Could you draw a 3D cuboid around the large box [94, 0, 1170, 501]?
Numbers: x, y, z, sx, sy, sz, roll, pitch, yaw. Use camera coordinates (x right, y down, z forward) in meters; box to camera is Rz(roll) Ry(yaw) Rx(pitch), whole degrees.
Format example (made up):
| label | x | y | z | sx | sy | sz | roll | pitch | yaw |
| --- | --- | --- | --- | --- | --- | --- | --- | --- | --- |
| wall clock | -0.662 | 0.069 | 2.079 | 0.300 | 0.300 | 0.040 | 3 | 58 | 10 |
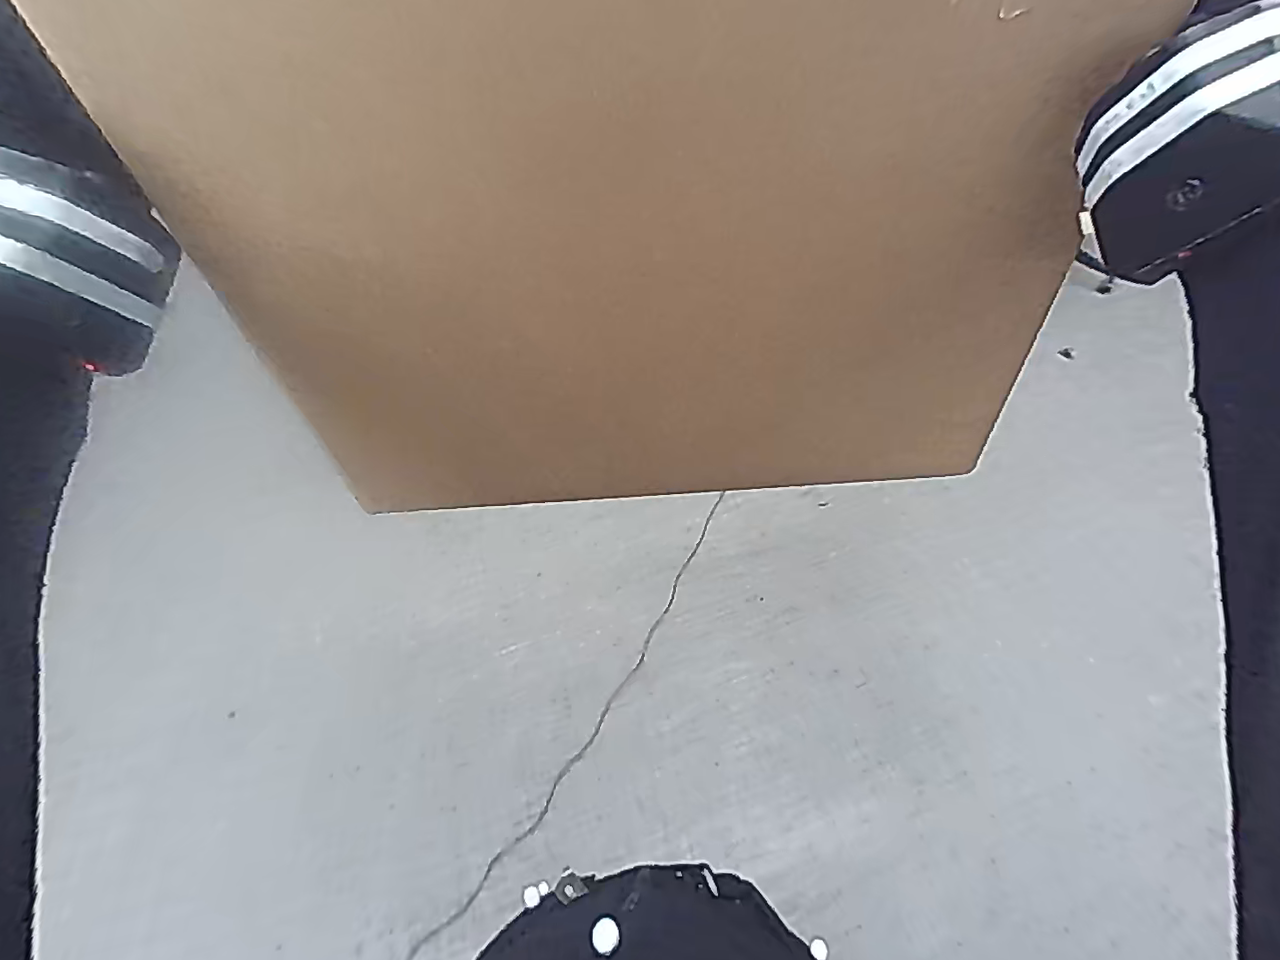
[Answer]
| label | x | y | z | sx | sy | sz | roll | pitch | yaw |
| --- | --- | --- | --- | --- | --- | --- | --- | --- | --- |
| large box | 0.003 | -0.206 | 0.370 | 0.408 | 0.320 | 0.320 | -3 | 45 | 3 |
